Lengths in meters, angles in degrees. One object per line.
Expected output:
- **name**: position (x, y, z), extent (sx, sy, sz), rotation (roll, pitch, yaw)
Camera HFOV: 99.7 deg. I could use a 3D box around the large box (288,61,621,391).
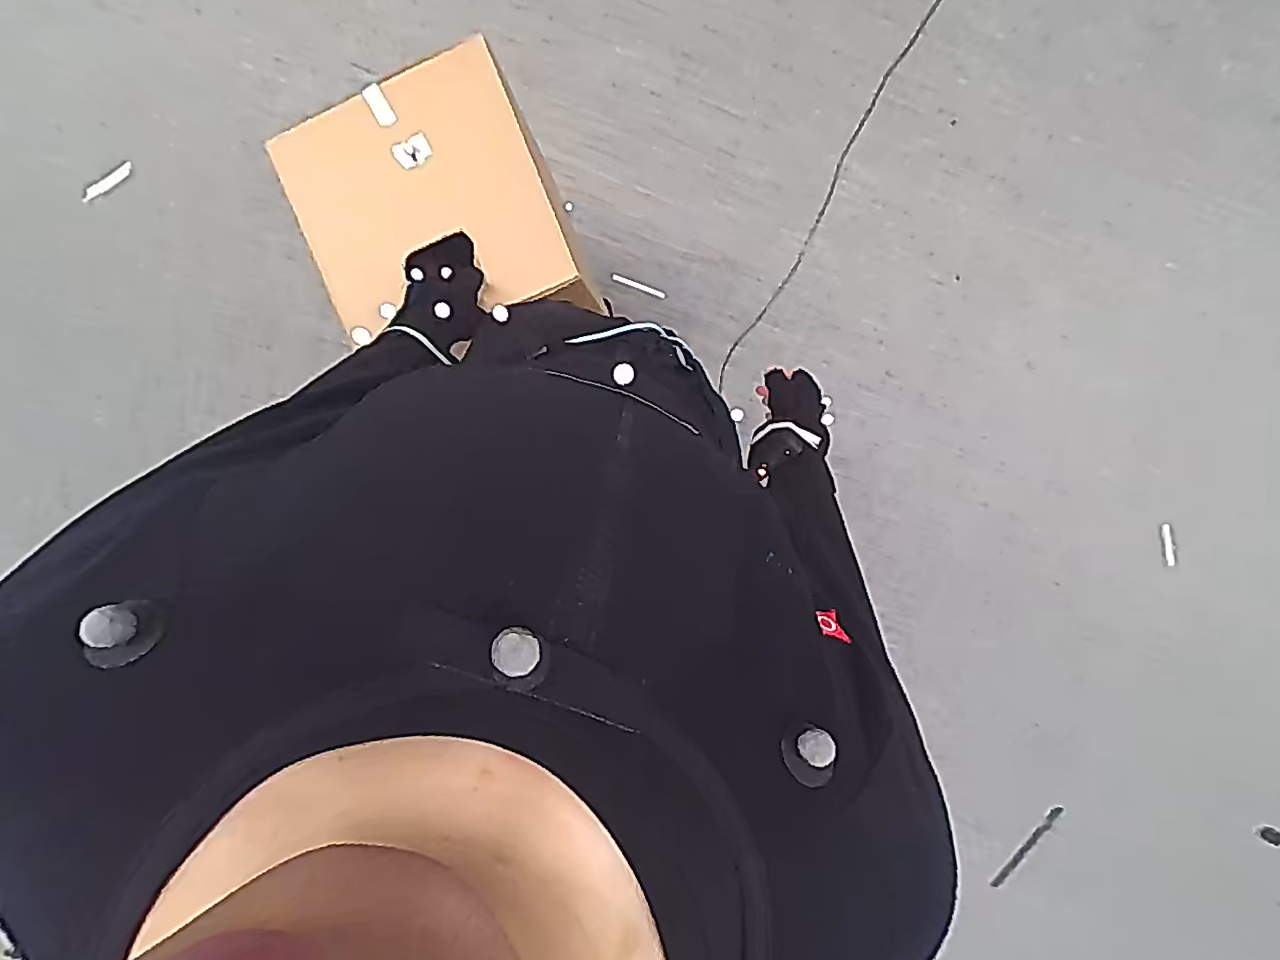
- **large box**: position (-0.251, -0.353, 0.885), extent (0.320, 0.408, 0.320), rotation (-20, 95, 7)
